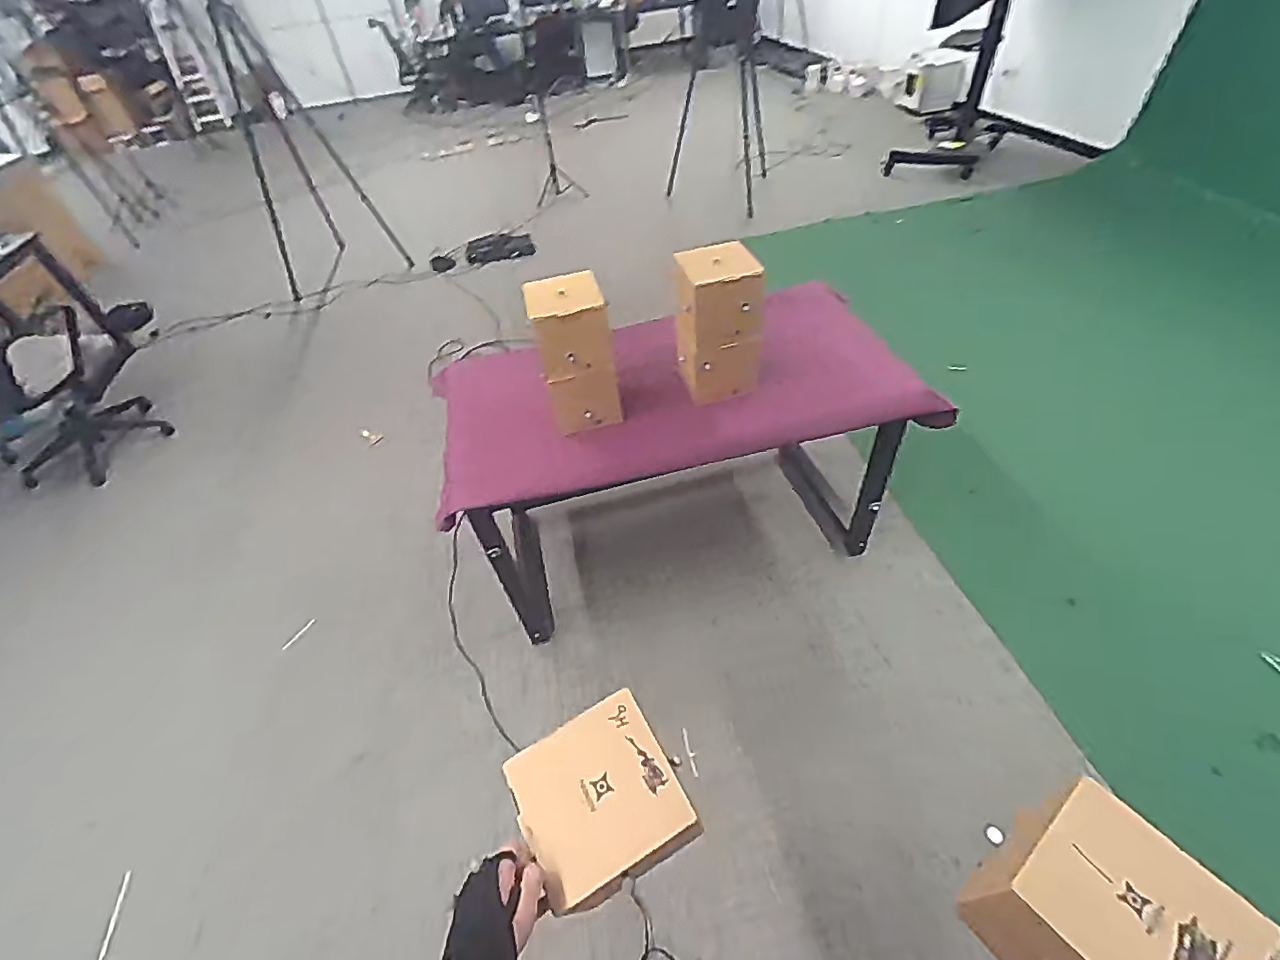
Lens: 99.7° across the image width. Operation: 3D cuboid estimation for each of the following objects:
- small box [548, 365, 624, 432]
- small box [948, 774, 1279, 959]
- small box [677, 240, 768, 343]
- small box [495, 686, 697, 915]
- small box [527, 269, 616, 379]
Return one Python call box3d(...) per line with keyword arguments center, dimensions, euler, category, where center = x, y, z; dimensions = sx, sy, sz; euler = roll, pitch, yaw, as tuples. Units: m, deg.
box3d(center=(-0.142, -0.247, 1.369), dimensions=(0.168, 0.176, 0.179), euler=(-13, 47, -4), category="small box")
box3d(center=(0.471, 0.455, 0.564), dimensions=(0.168, 0.176, 0.179), euler=(-31, 52, -24), category="small box")
box3d(center=(0.193, -0.439, 1.282), dimensions=(0.168, 0.176, 0.179), euler=(-13, 46, -5), category="small box")
box3d(center=(-0.046, 0.391, 0.663), dimensions=(0.179, 0.176, 0.168), euler=(-29, 54, -11), category="small box")
box3d(center=(-0.157, -0.360, 1.253), dimensions=(0.168, 0.176, 0.179), euler=(-13, 47, -6), category="small box")
